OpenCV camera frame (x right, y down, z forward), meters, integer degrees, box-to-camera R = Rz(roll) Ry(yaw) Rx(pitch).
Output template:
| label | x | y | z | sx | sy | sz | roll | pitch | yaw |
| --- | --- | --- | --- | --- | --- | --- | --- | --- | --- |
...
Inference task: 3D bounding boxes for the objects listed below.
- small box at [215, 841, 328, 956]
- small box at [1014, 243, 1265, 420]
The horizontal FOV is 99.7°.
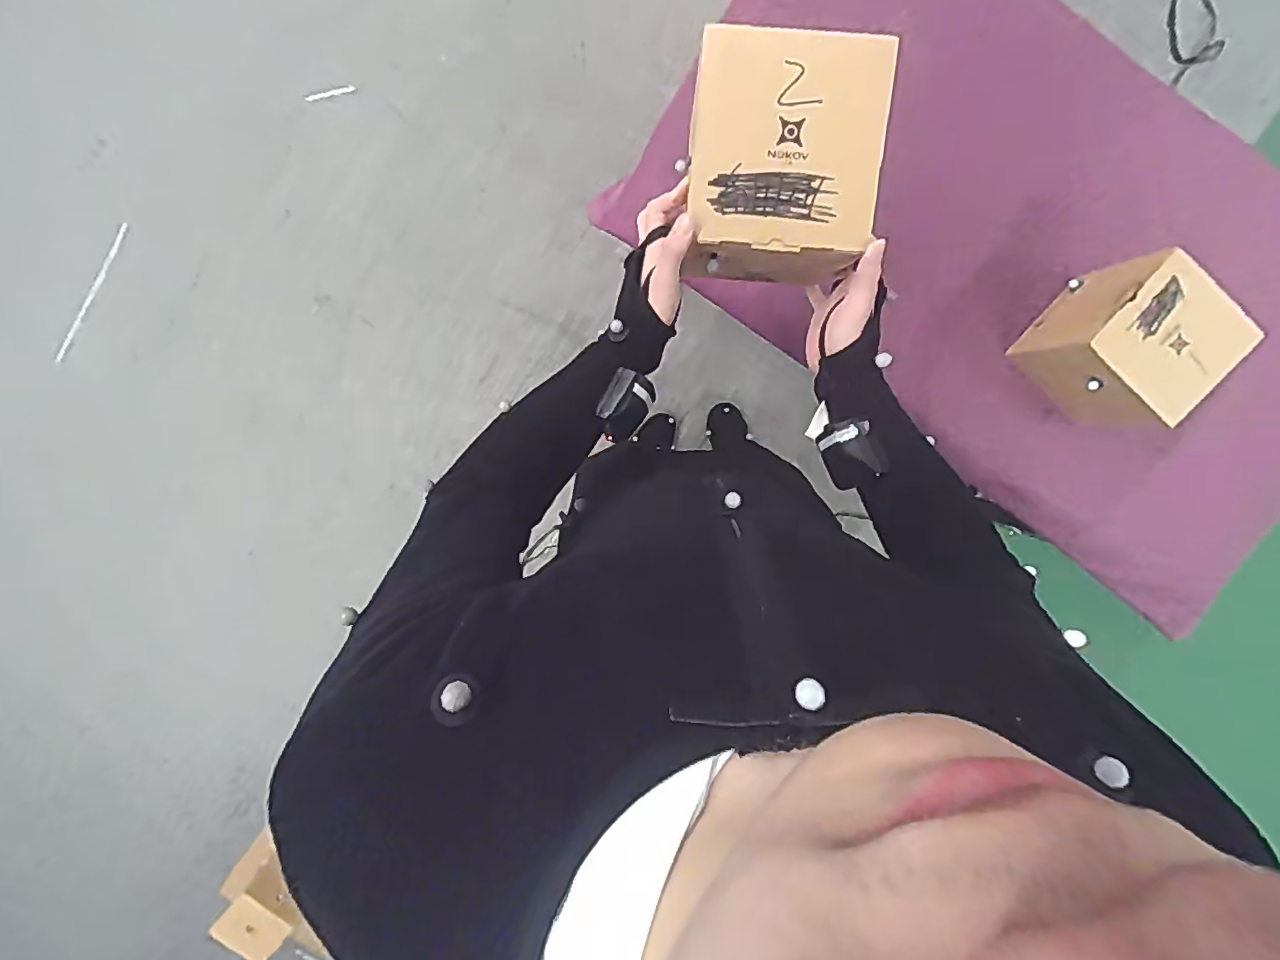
| label | x | y | z | sx | sy | sz | roll | pitch | yaw |
| --- | --- | --- | --- | --- | --- | --- | --- | --- | --- |
| small box | -1.058 | 1.206 | 1.572 | 0.179 | 0.176 | 0.168 | 41 | 96 | -6 |
| small box | 0.711 | -0.205 | 0.794 | 0.179 | 0.176 | 0.168 | 41 | 97 | -6 |
